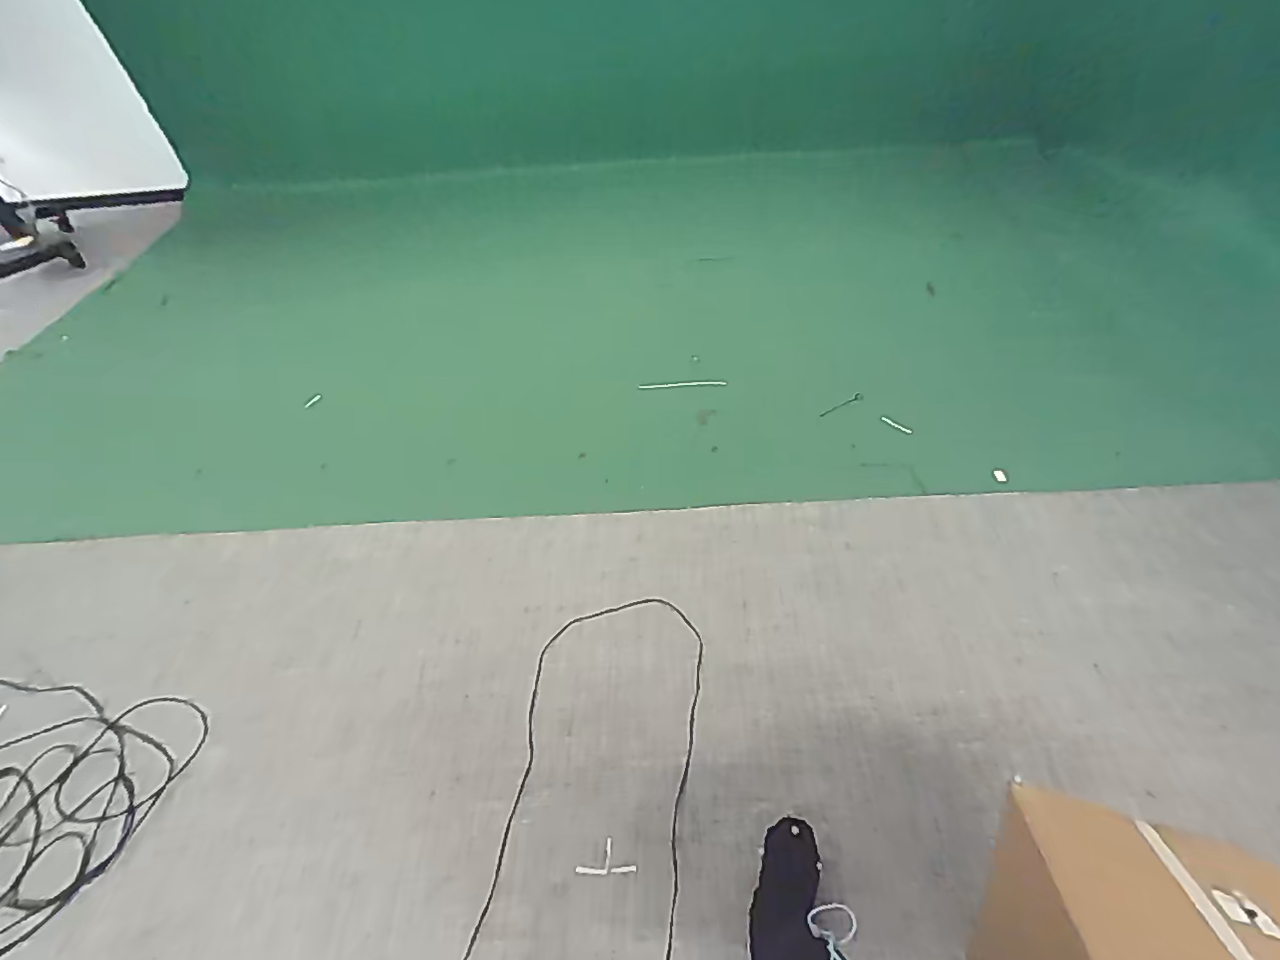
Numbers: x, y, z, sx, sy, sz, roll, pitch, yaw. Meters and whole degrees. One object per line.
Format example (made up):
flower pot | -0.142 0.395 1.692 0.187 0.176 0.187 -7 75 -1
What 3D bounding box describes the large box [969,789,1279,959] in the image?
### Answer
large box | 0.605 0.651 0.597 0.320 0.320 0.408 11 8 19
